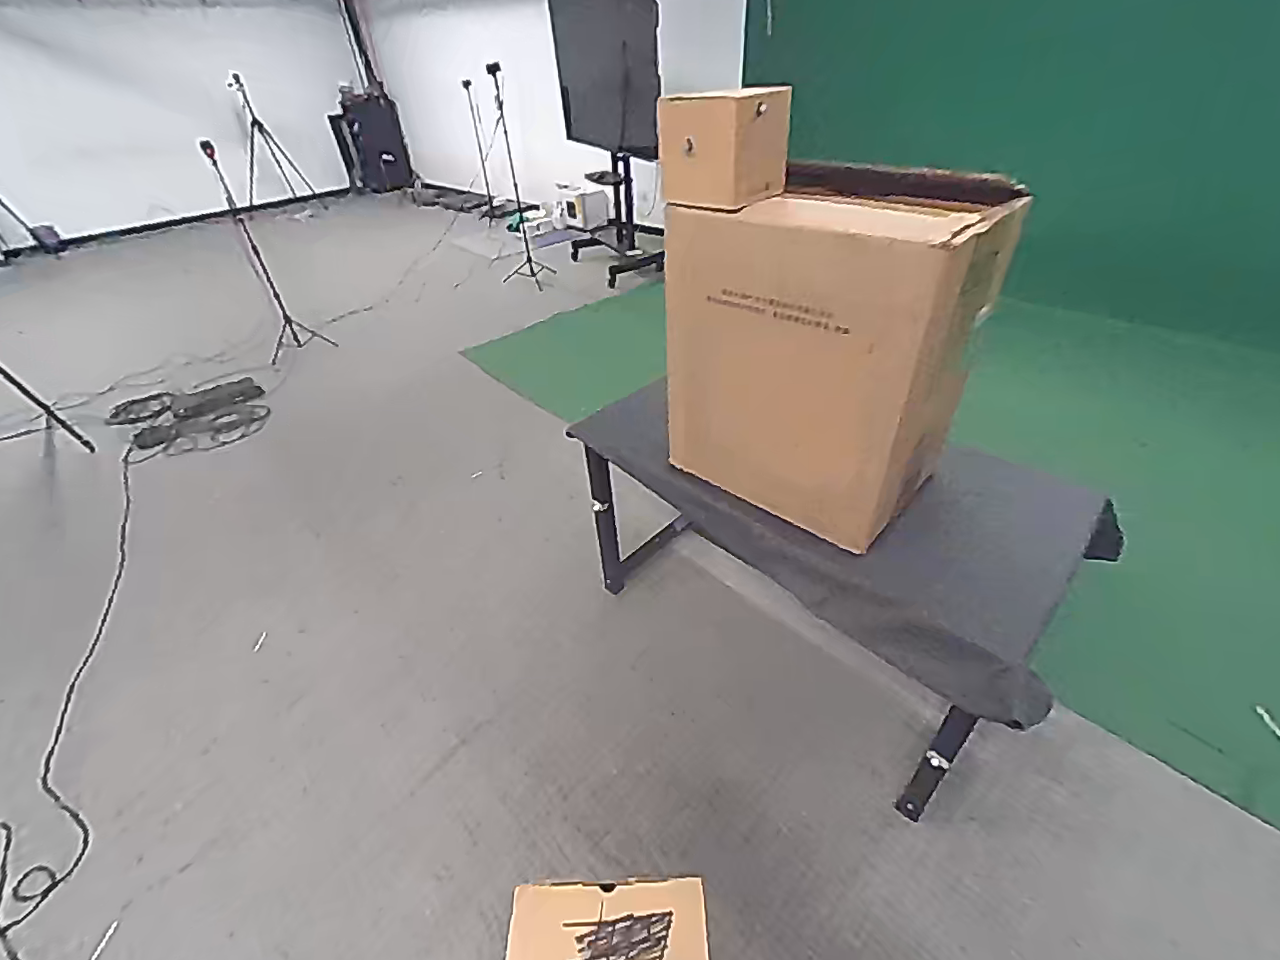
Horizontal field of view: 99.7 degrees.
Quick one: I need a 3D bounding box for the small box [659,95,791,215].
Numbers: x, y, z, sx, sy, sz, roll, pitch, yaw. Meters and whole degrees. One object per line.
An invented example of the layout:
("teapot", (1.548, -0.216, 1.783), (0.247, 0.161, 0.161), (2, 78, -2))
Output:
("small box", (0.153, -0.600, 1.000), (0.179, 0.176, 0.168), (28, 49, 35))
